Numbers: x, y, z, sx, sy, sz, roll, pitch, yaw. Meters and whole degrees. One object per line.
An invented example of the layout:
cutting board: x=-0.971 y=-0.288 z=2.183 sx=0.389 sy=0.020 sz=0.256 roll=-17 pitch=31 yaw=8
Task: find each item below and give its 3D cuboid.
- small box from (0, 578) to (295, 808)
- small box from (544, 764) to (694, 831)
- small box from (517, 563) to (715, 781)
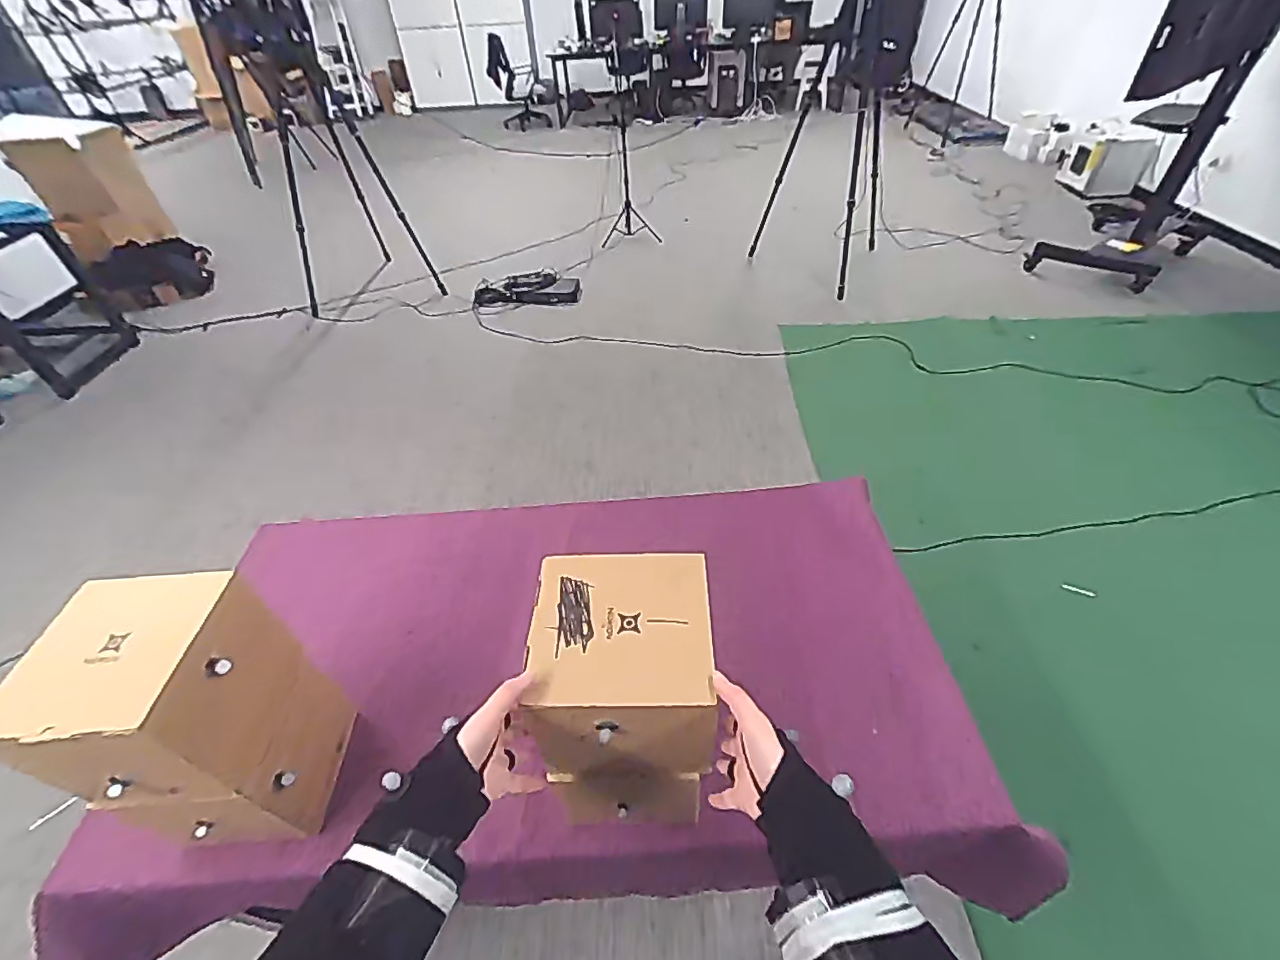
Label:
small box: x=-0.513 y=0.228 z=0.583 sx=0.168 sy=0.176 sz=0.179 roll=-4 pitch=44 yaw=0
small box: x=-0.017 y=0.328 z=0.687 sx=0.168 sy=0.176 sz=0.179 roll=-1 pitch=43 yaw=2
small box: x=-0.016 y=0.205 z=0.576 sx=0.179 sy=0.176 sz=0.168 roll=-1 pitch=44 yaw=2
